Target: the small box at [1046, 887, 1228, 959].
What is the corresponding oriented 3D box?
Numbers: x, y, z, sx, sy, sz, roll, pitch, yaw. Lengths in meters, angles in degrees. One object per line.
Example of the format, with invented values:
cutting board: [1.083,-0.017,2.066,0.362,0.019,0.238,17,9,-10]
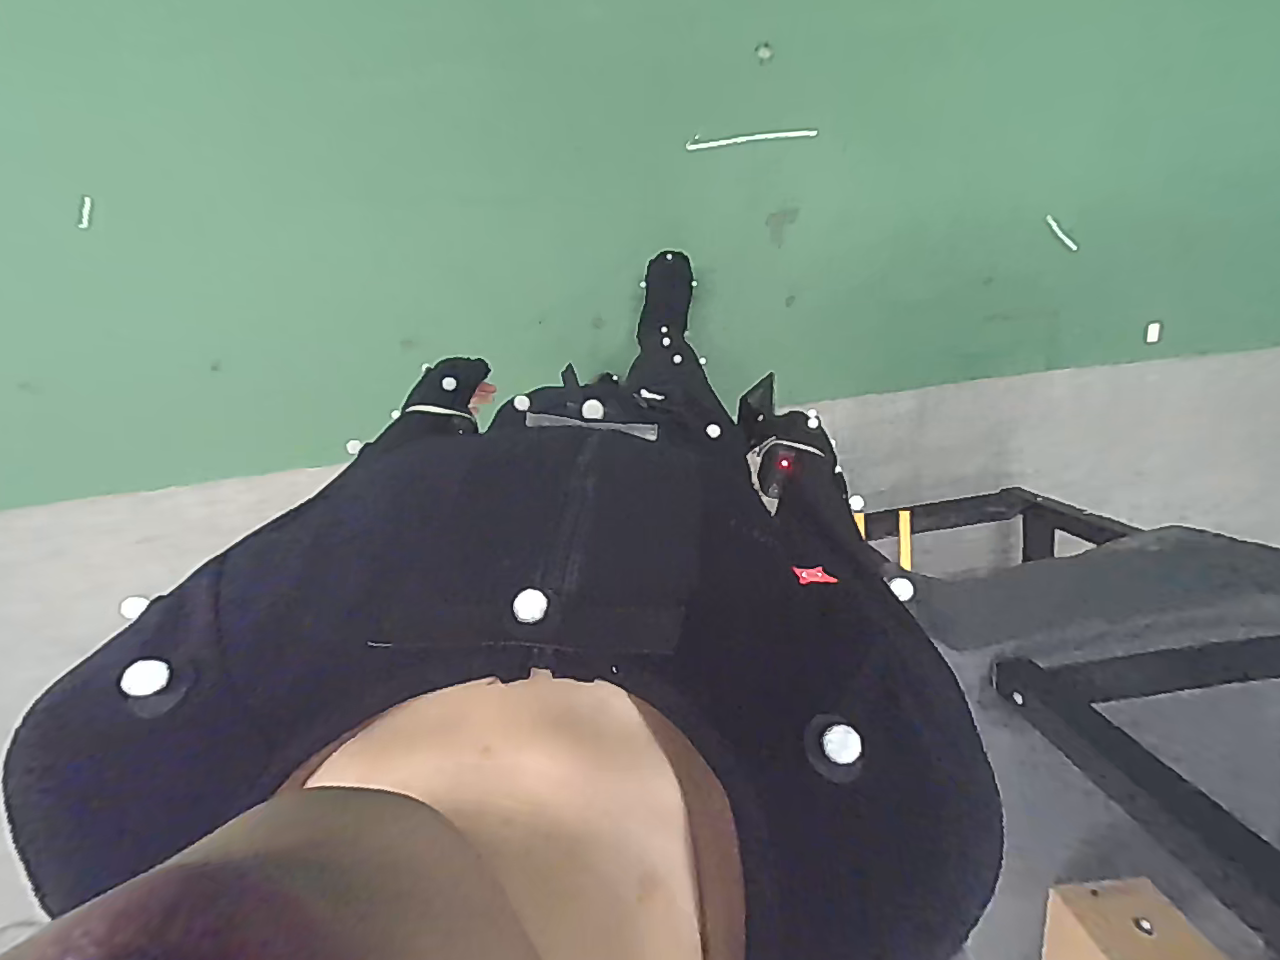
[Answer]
small box: [0.773,0.771,0.838,0.168,0.176,0.179,-5,103,0]
